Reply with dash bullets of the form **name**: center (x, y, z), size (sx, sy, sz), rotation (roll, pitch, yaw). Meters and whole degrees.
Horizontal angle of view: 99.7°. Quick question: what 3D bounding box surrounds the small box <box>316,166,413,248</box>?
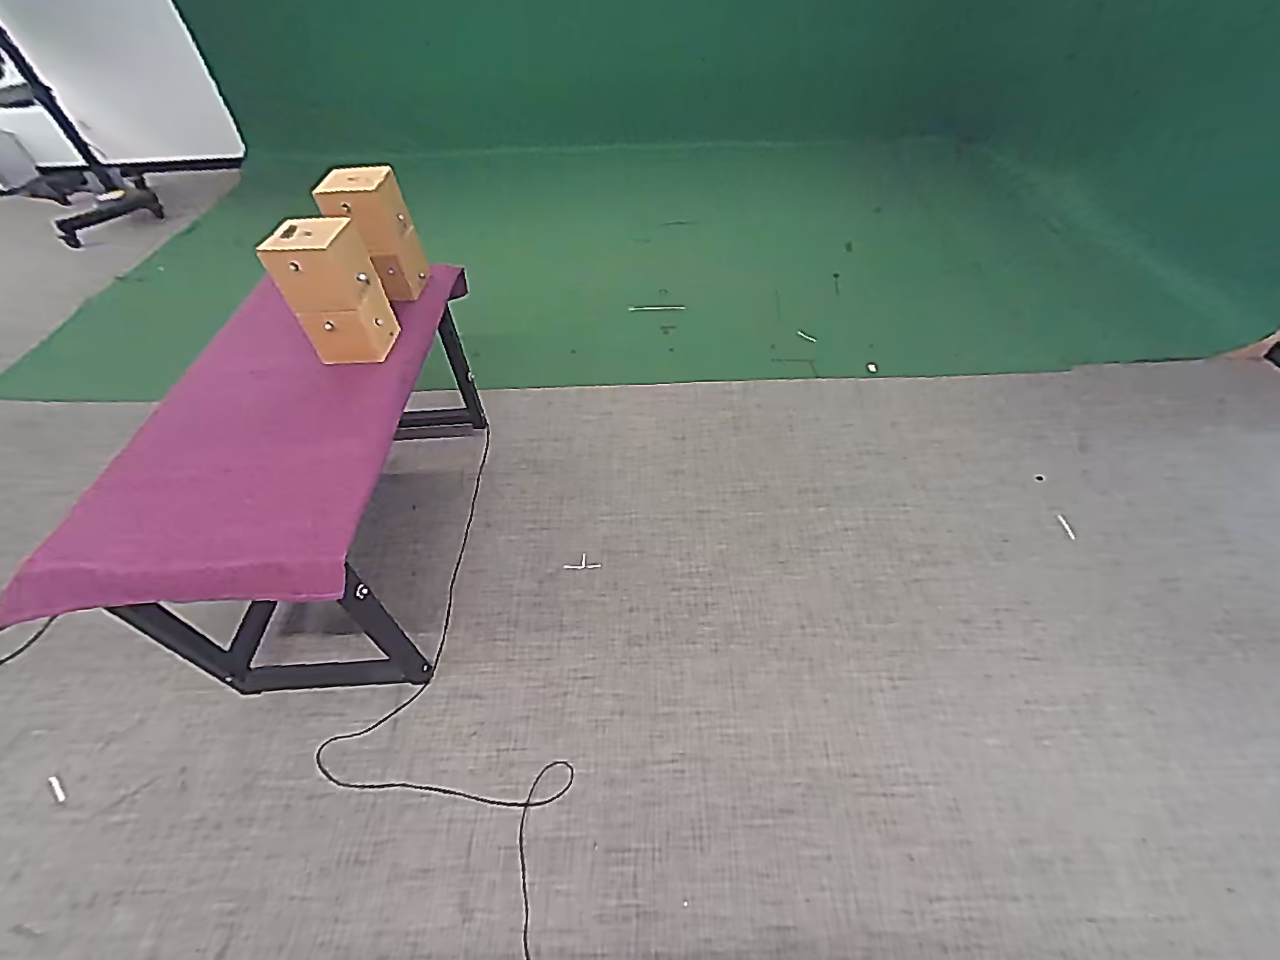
- **small box**: center (-0.804, -0.802, 1.596), size (0.179, 0.176, 0.168), rotation (-1, 51, 2)

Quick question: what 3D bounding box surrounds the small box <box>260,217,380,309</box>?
- **small box**: center (-0.809, -0.553, 1.387), size (0.179, 0.176, 0.168), rotation (0, 50, 4)

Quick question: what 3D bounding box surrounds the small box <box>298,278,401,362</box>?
- **small box**: center (-0.798, -0.445, 1.510), size (0.179, 0.176, 0.168), rotation (-1, 49, 4)
